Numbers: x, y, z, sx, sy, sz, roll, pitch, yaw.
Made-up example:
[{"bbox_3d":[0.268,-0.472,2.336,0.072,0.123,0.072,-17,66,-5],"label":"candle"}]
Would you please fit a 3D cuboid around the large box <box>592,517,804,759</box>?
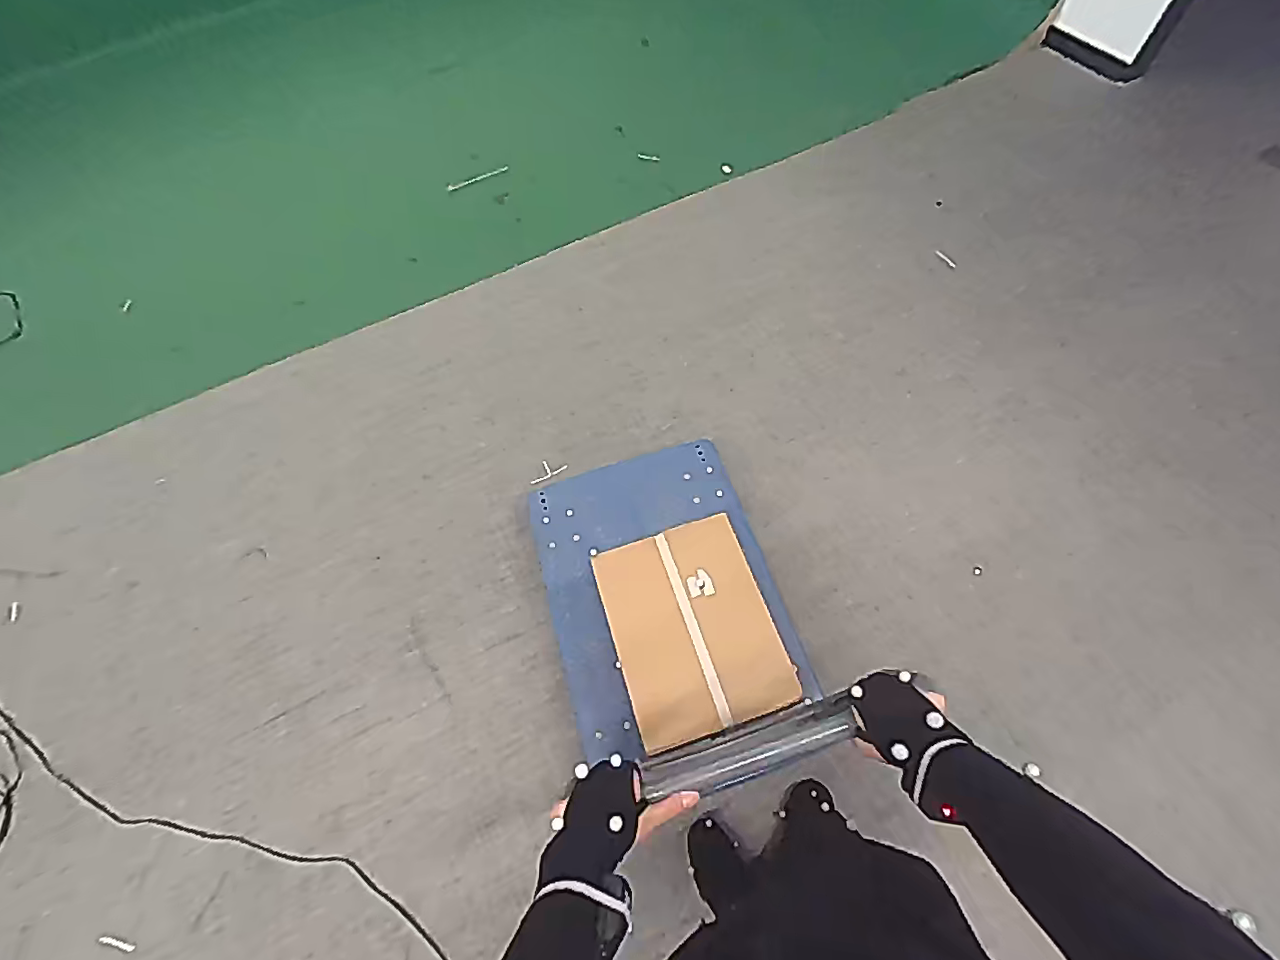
[{"bbox_3d":[0.115,0.360,1.212,0.320,0.320,0.408,-17,62,-5],"label":"large box"}]
